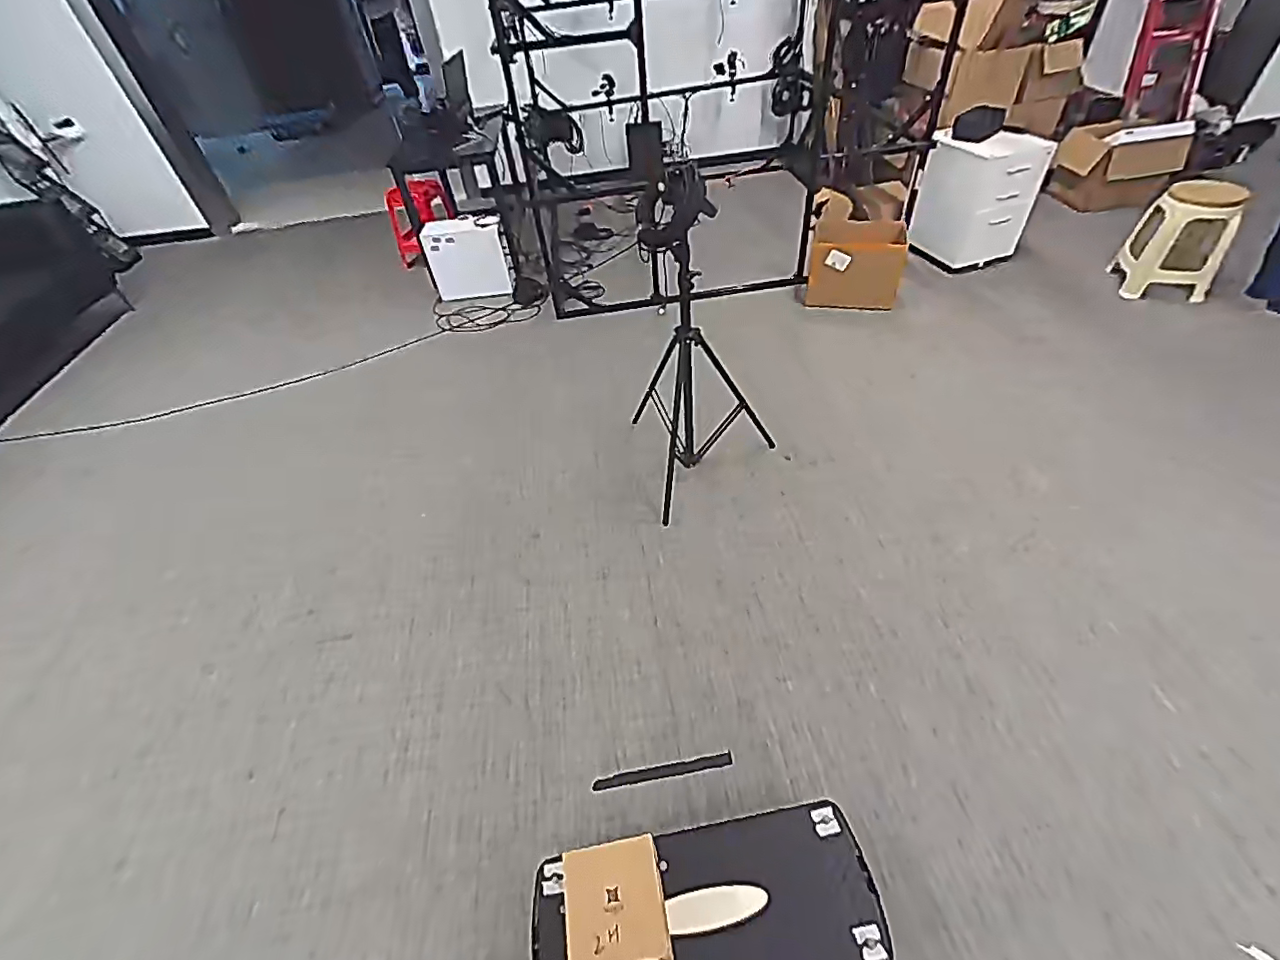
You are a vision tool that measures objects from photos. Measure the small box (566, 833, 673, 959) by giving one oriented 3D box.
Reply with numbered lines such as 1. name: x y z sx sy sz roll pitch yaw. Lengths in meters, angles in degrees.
1. small box: -0.038 0.771 0.973 0.168 0.176 0.179 -10 45 -3
